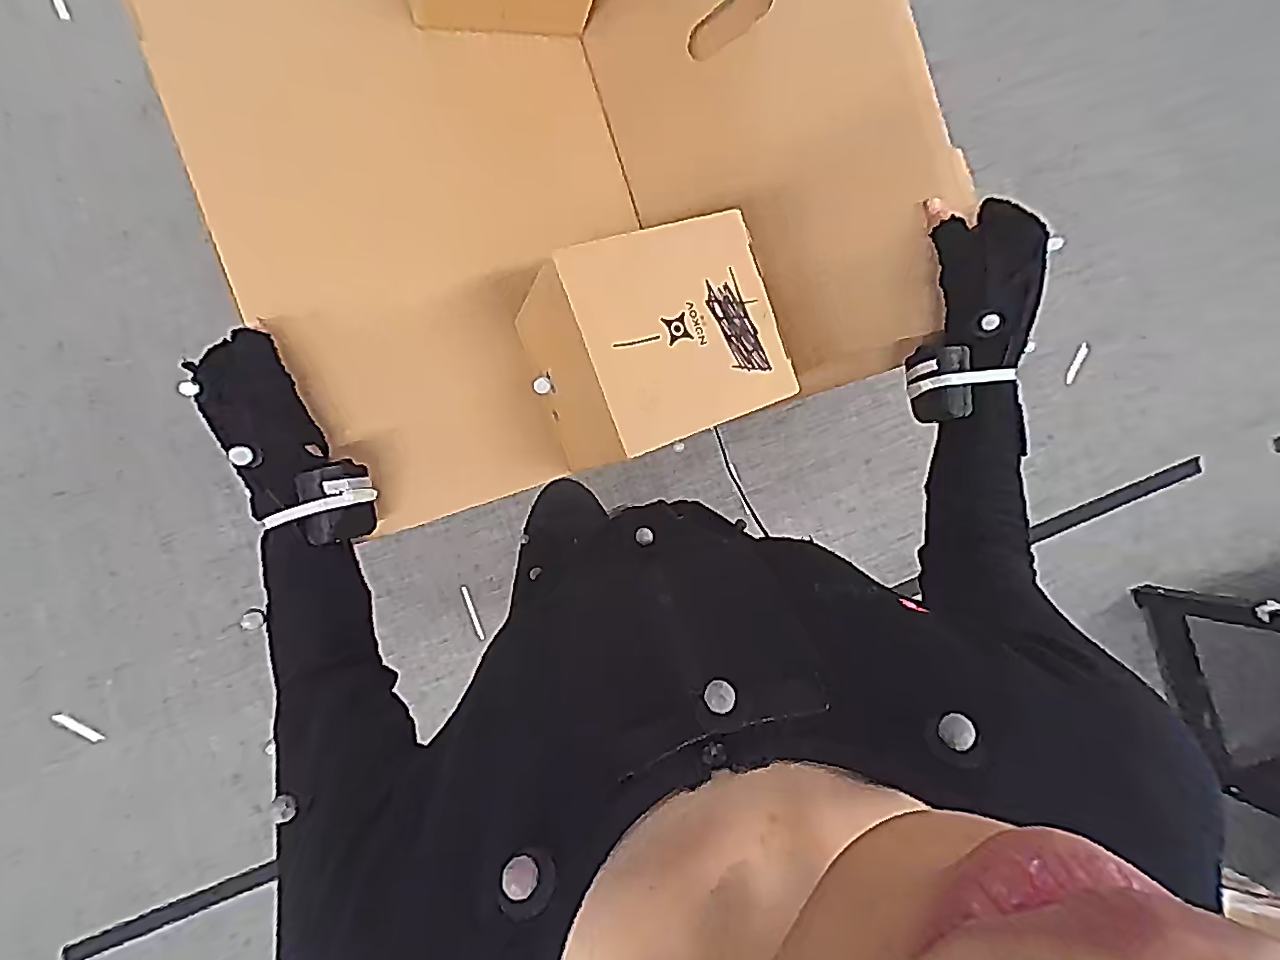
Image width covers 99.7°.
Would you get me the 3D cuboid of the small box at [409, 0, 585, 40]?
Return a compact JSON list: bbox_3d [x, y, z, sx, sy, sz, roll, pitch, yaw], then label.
[{"bbox_3d":[-0.134,-0.541,0.483,0.179,0.176,0.168,-16,93,-23],"label":"small box"}]
